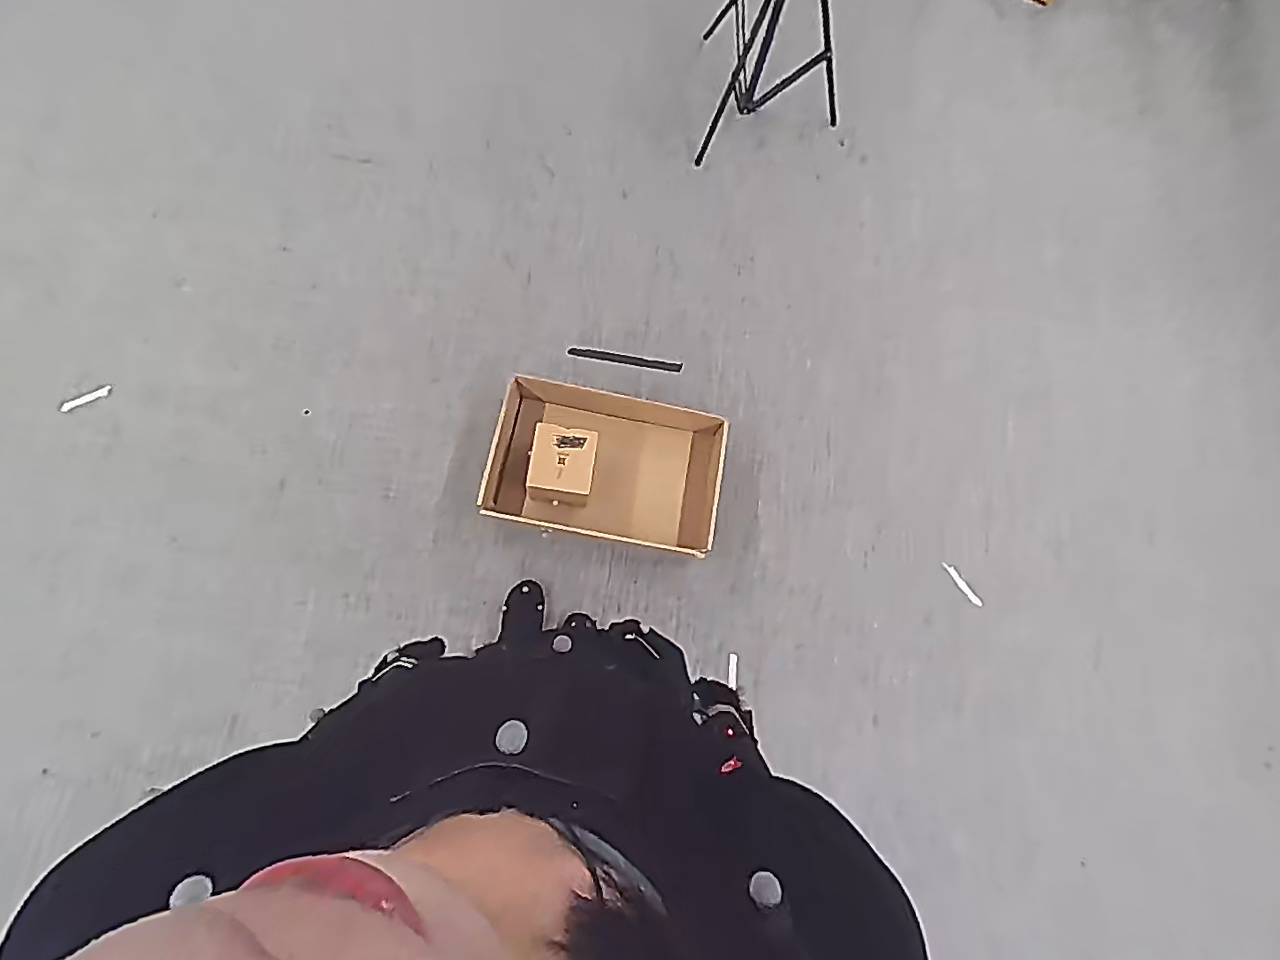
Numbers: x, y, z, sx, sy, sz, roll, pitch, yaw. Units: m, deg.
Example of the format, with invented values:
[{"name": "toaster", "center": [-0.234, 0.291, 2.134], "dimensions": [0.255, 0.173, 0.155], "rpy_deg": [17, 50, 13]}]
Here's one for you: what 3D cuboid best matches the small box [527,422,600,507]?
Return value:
[{"name": "small box", "center": [-0.208, -0.038, 1.473], "dimensions": [0.168, 0.176, 0.179], "rpy_deg": [9, 75, -5]}]
